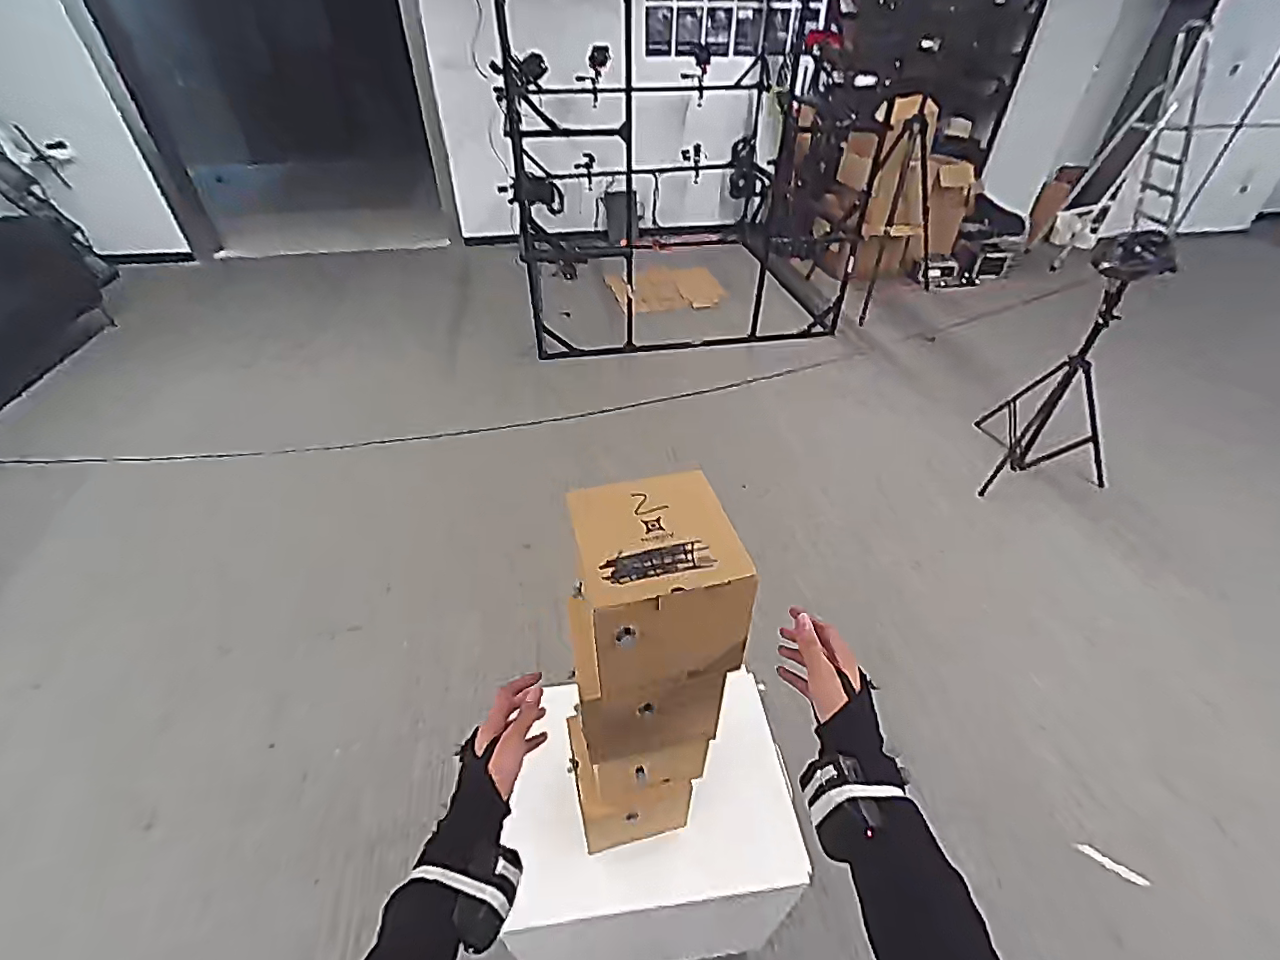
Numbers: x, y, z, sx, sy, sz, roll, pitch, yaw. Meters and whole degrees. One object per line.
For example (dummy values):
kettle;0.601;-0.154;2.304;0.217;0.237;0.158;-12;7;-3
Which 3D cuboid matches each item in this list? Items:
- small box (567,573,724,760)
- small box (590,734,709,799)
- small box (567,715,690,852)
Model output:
small box;0.002;0.252;0.728;0.179;0.176;0.168;-6;41;-9
small box;0.000;0.370;0.843;0.168;0.176;0.179;-8;40;-11
small box;-0.023;0.508;0.931;0.179;0.176;0.168;-8;41;-12
